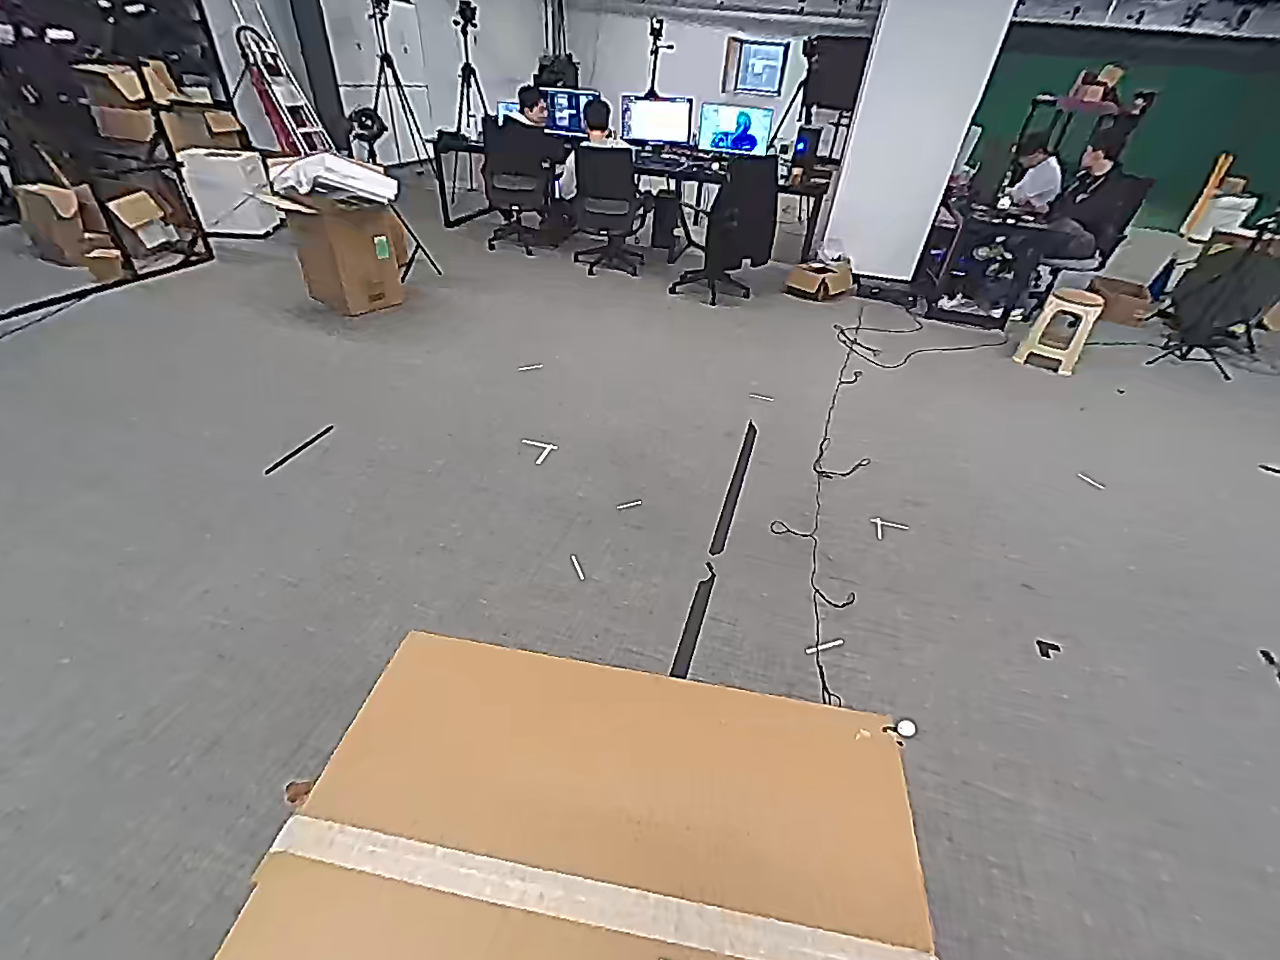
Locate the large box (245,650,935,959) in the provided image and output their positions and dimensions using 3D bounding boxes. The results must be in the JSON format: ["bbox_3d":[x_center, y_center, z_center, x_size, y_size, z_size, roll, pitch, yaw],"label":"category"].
[{"bbox_3d":[-0.029,0.380,0.427,0.408,0.320,0.320,8,41,6],"label":"large box"}]
